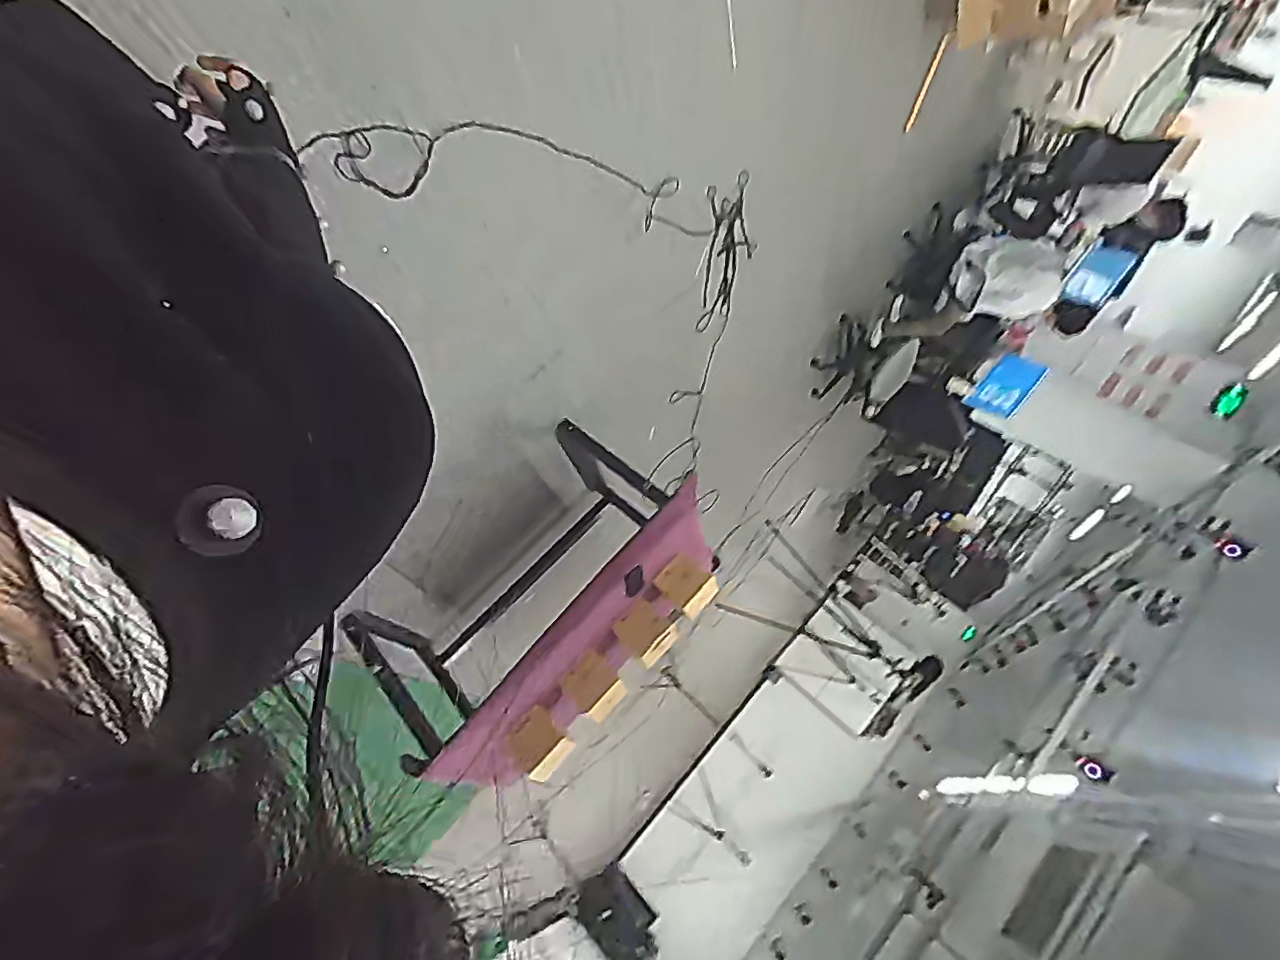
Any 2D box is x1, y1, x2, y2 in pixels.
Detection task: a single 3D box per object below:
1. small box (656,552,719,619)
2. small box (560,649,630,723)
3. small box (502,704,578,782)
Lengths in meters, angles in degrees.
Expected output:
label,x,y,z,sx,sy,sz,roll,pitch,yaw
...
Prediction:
label,x,y,z,sx,sy,sz,roll,pitch,yaw
small box,0.181,0.401,2.084,0.168,0.176,0.179,-46,150,-12
small box,-0.164,0.740,1.954,0.168,0.176,0.179,-43,149,-17
small box,-0.346,0.912,1.881,0.168,0.176,0.179,-43,149,-19
